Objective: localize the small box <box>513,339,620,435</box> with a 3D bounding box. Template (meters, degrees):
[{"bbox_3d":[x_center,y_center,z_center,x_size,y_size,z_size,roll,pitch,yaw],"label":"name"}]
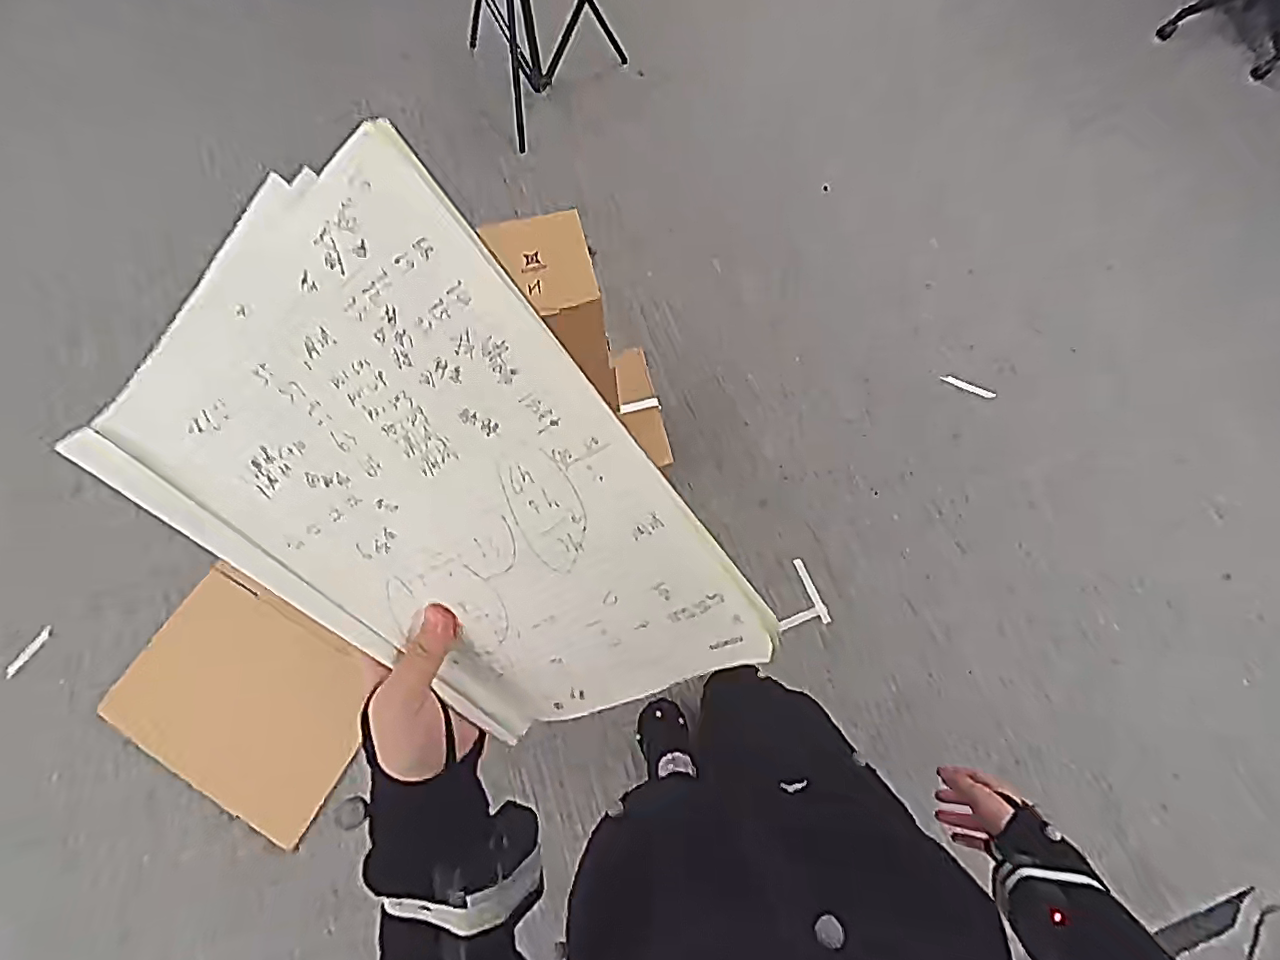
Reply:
[{"bbox_3d":[-0.138,-0.204,0.988,0.179,0.176,0.168,-16,69,-4],"label":"small box"}]

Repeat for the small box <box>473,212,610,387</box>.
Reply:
[{"bbox_3d":[-0.146,-0.272,0.838,0.168,0.176,0.179,-13,70,-4],"label":"small box"}]
